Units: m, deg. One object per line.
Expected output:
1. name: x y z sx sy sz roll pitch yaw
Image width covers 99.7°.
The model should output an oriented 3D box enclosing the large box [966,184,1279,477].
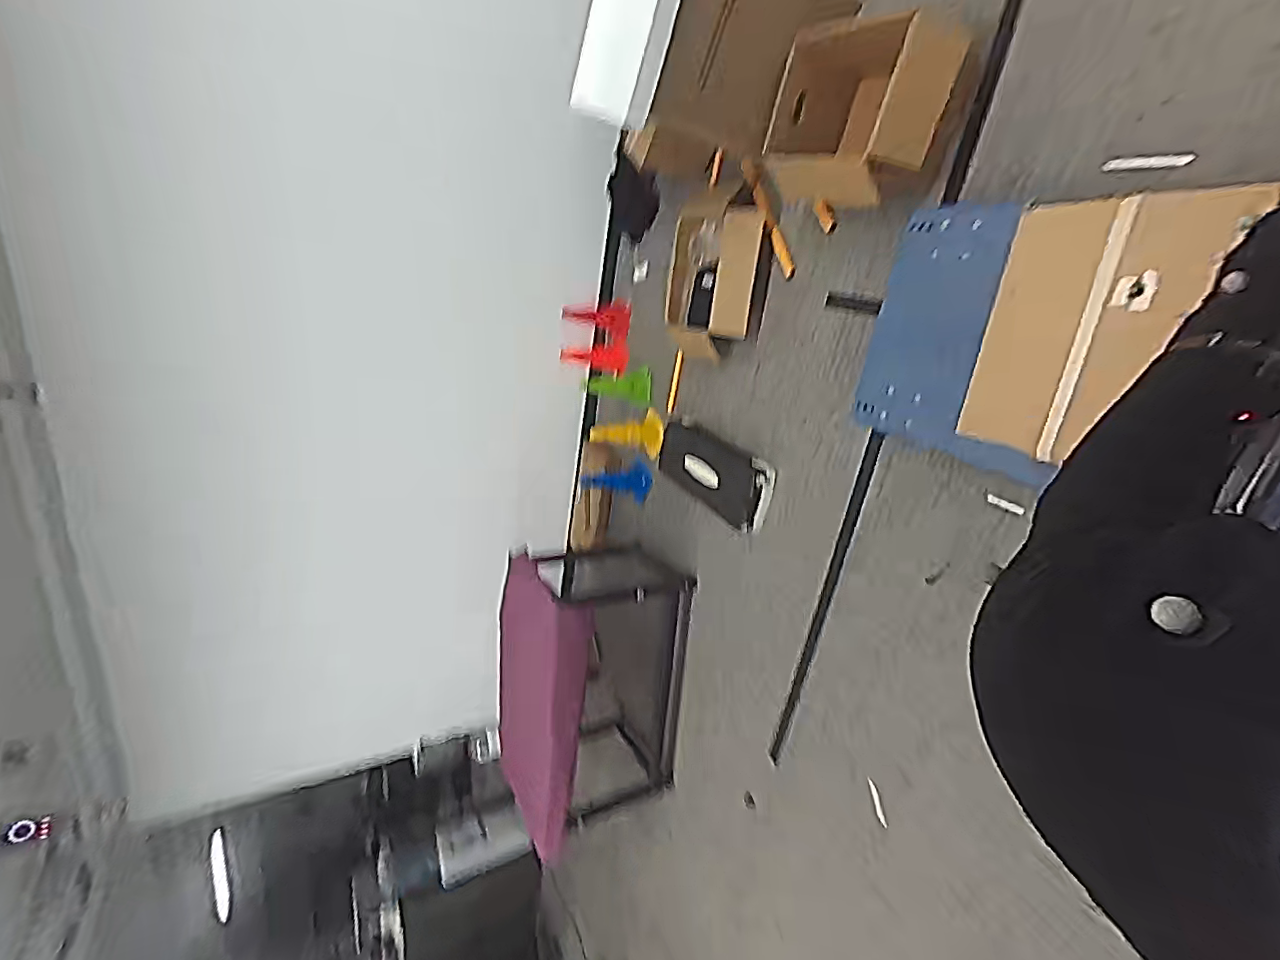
1. large box: 0.851 -0.236 0.942 0.320 0.320 0.408 30 116 53
